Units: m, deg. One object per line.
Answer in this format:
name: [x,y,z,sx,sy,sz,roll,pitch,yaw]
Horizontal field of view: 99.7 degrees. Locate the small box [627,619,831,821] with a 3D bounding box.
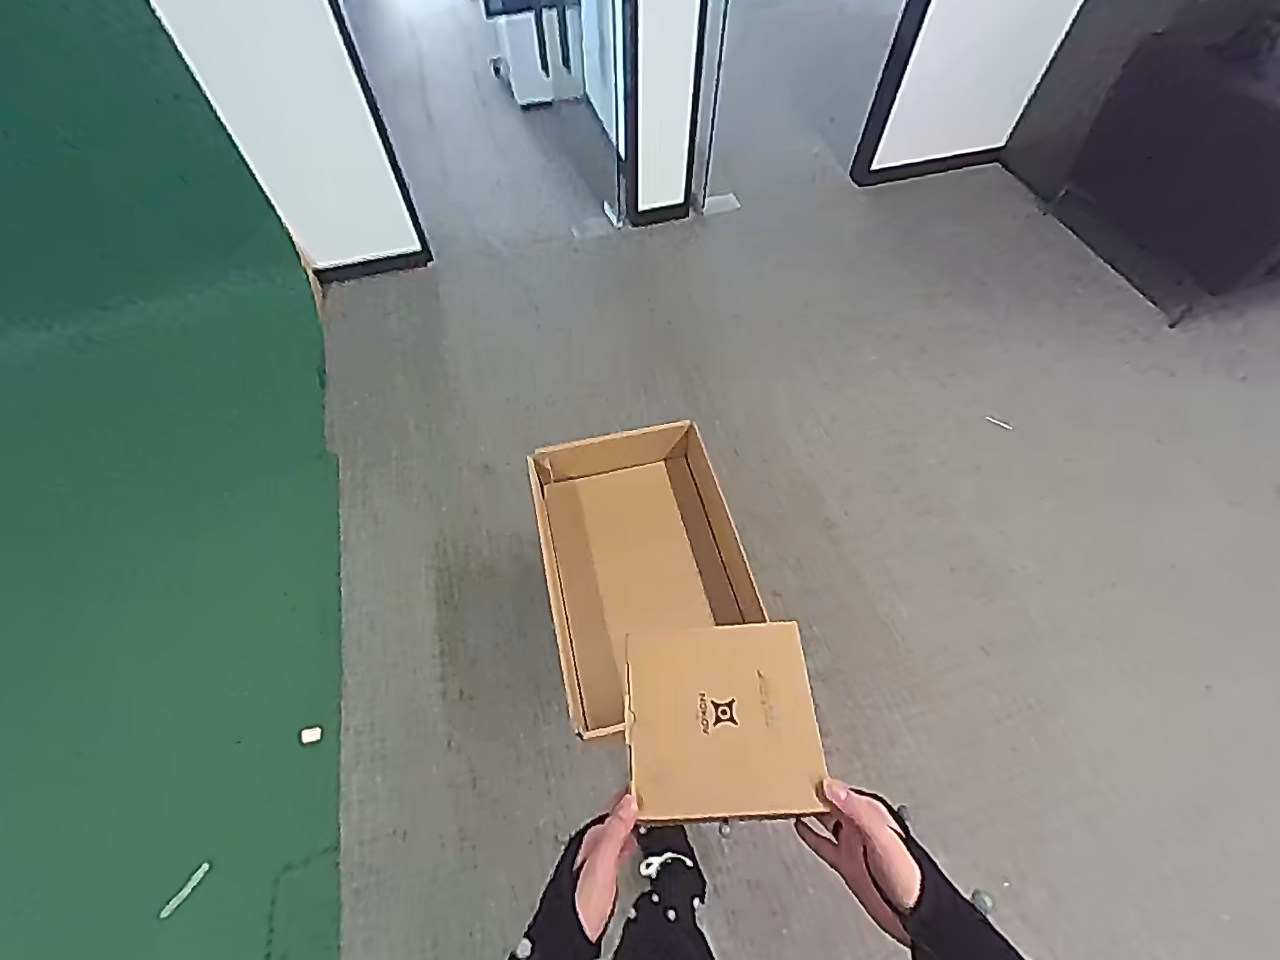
small box: [0.082,0.258,0.571,0.179,0.176,0.168,-4,56,2]
